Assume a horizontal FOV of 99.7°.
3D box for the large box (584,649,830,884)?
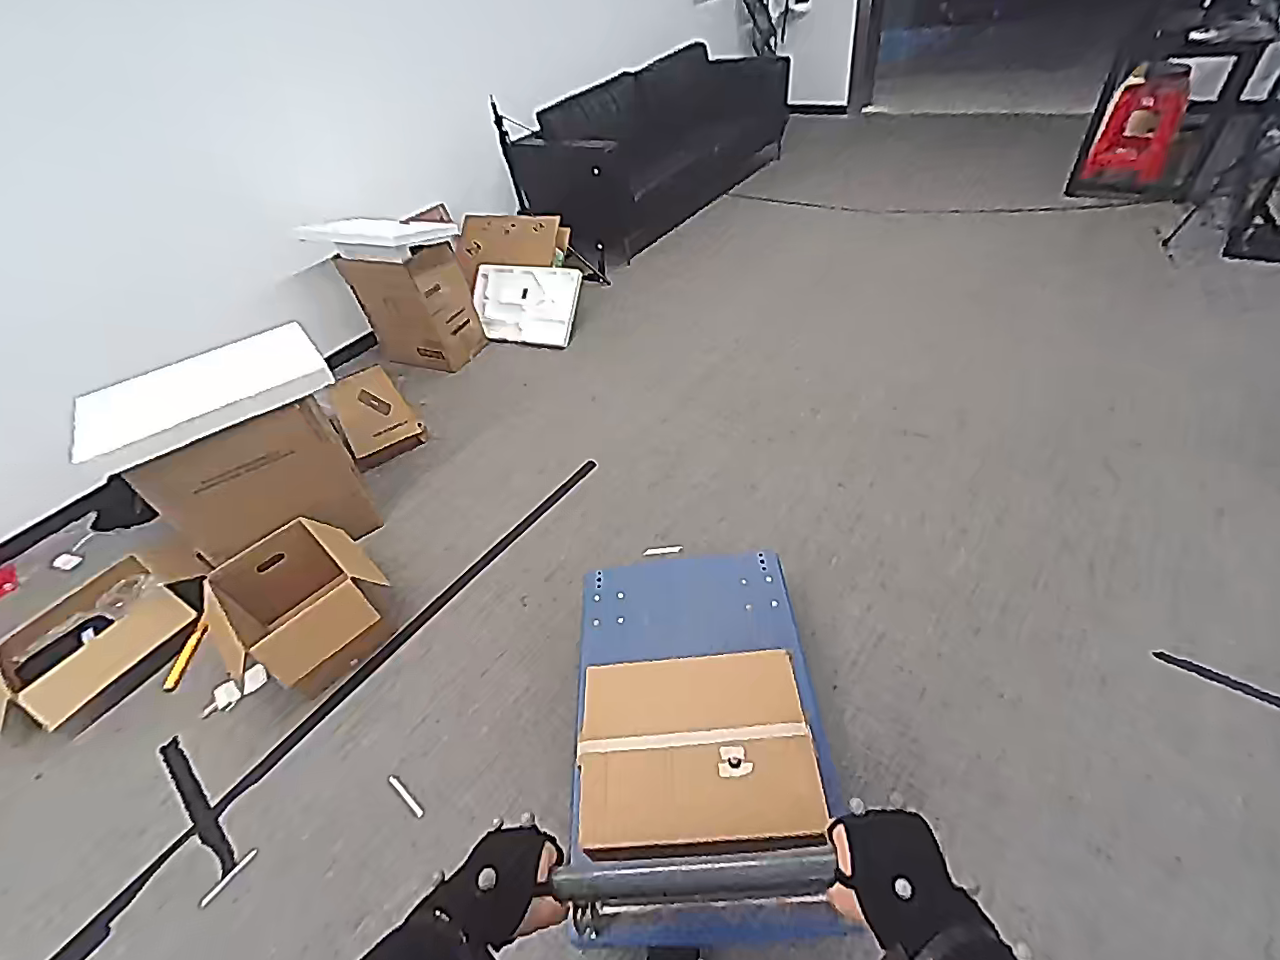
[{"bbox_3d":[0.115,0.568,1.069,0.408,0.320,0.320,-6,45,3],"label":"large box"}]
